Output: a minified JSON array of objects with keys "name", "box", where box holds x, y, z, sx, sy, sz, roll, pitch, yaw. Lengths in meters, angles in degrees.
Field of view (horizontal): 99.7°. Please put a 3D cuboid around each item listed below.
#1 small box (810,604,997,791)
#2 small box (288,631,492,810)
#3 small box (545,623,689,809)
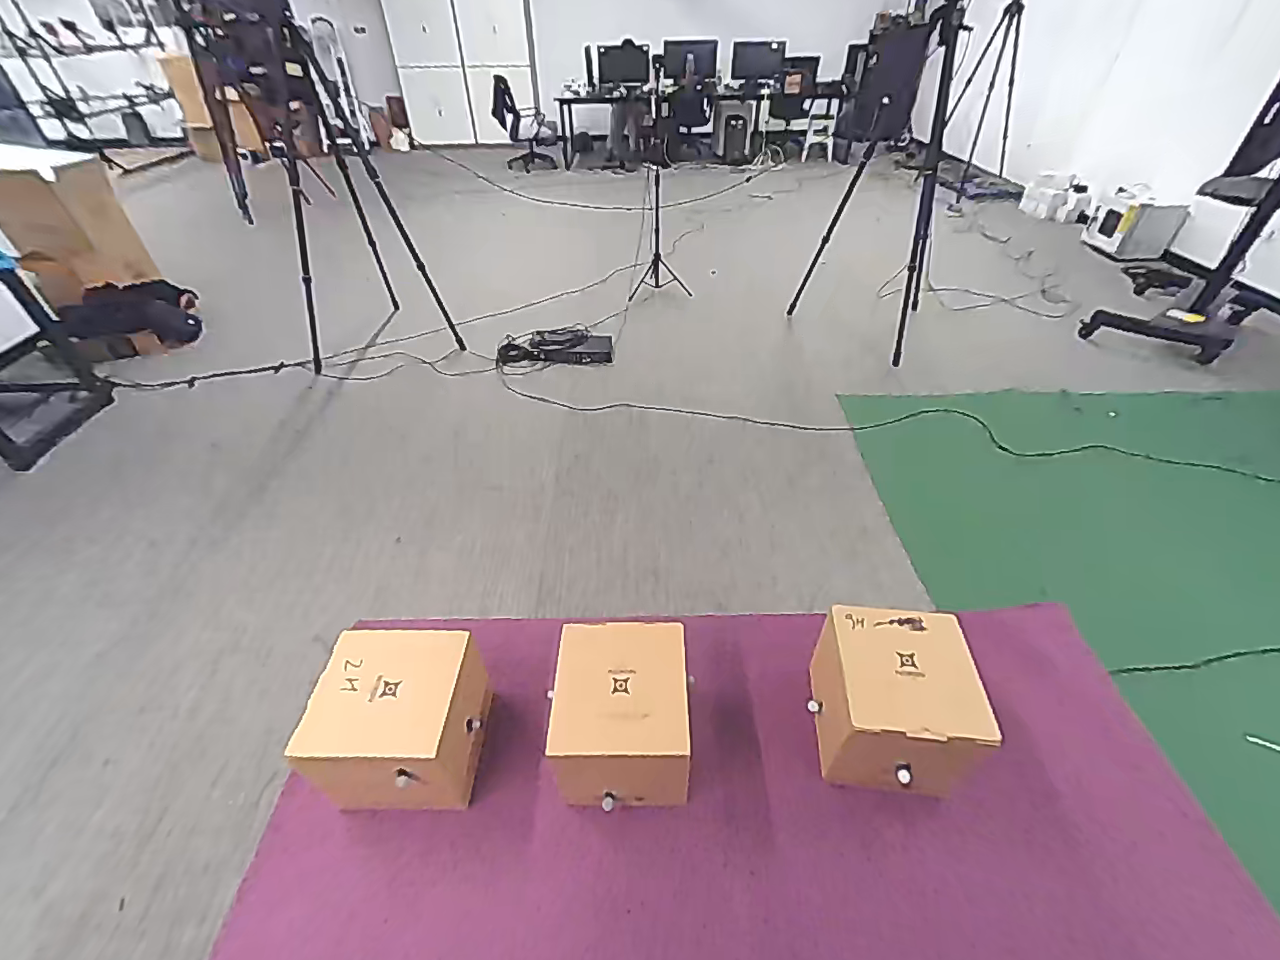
[{"name":"small box","box":[0.333,0.292,0.727,0.168,0.176,0.179,4,42,6]},{"name":"small box","box":[-0.311,0.321,0.722,0.179,0.176,0.168,0,41,2]},{"name":"small box","box":[-0.023,0.312,0.723,0.168,0.176,0.179,-1,41,2]}]
